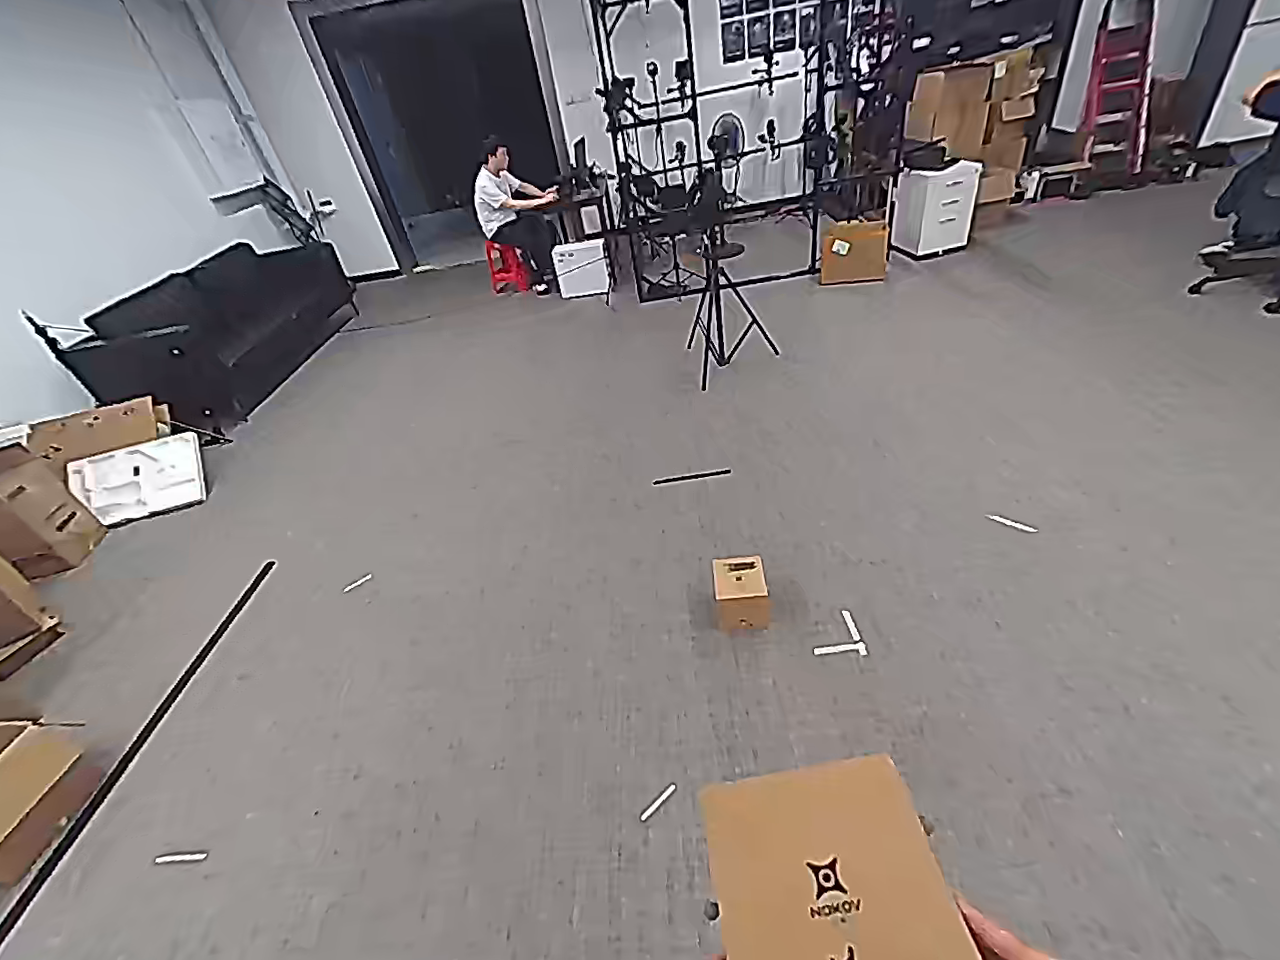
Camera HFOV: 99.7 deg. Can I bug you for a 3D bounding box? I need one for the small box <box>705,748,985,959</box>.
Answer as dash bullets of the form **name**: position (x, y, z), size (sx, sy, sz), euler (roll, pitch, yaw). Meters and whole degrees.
- **small box**: position (0.156, 0.354, 0.440), size (0.168, 0.176, 0.179), euler (-13, 38, 5)
